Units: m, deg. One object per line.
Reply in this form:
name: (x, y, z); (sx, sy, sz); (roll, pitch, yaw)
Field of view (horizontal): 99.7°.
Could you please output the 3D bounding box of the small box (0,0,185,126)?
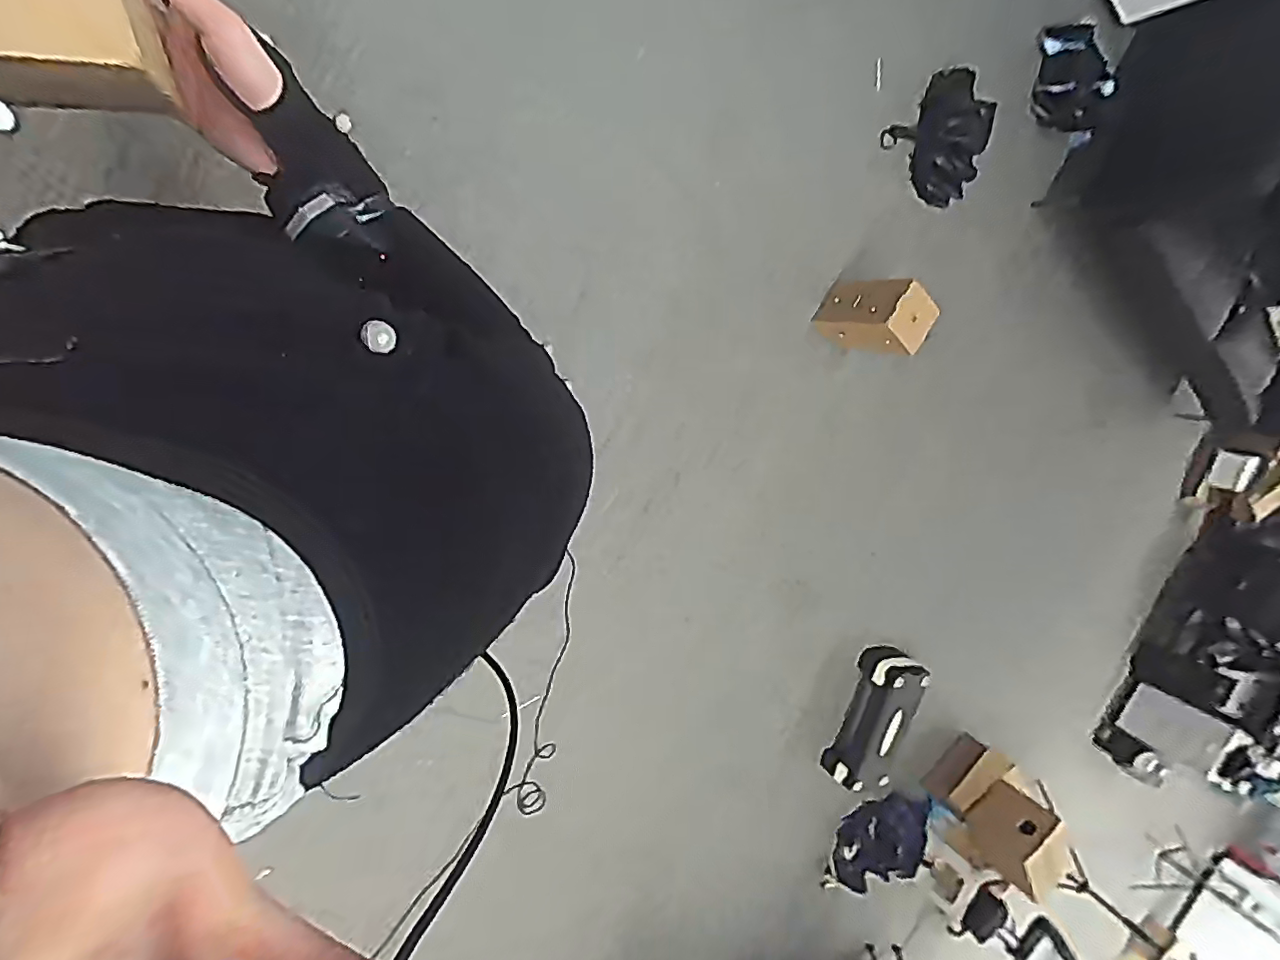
small box: (-0.348, -0.282, 0.251); (0.168, 0.176, 0.179); (-15, 122, -28)
